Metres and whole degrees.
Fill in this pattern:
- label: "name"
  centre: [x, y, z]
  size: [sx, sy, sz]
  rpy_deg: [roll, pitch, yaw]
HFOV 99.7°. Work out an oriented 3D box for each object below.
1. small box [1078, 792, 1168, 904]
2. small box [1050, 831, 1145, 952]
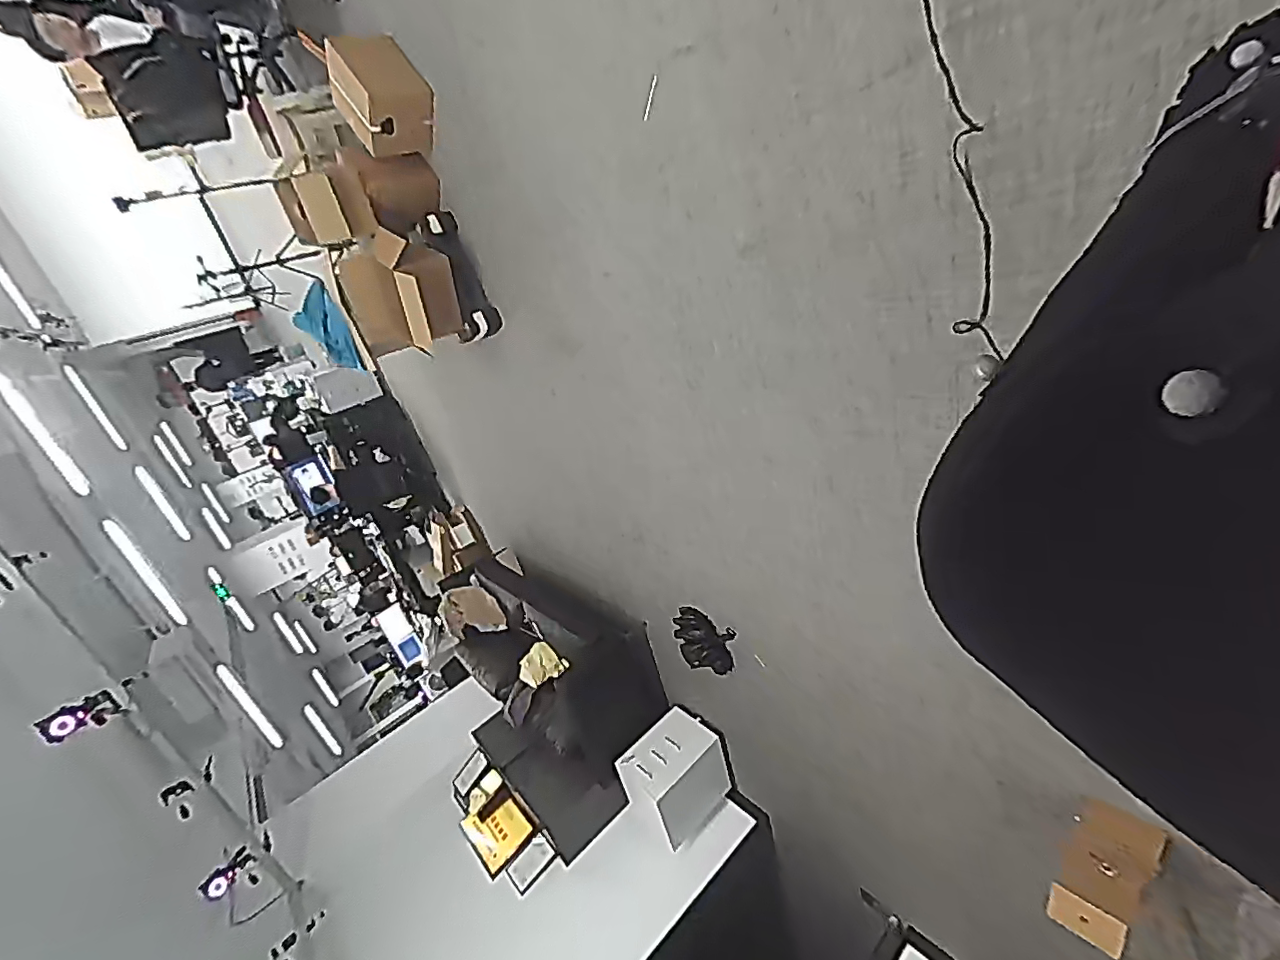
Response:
- label: "small box"
  centre: [1.408, 1.071, 1.588]
  size: [0.179, 0.176, 0.168]
  rpy_deg: [18, 131, 48]
- label: "small box"
  centre: [1.283, 1.146, 1.517]
  size: [0.168, 0.176, 0.179]
  rpy_deg: [14, 127, 47]
